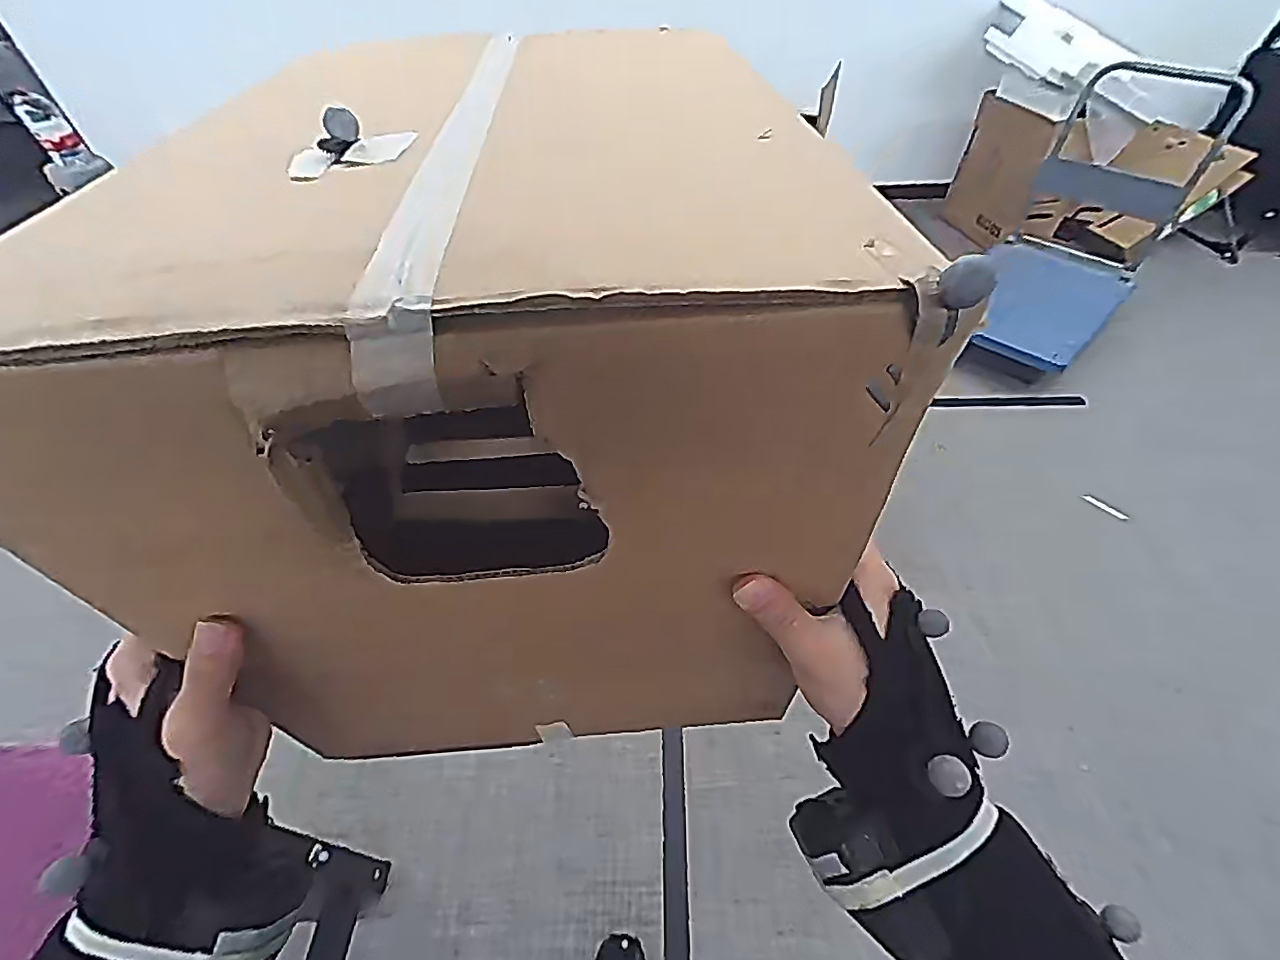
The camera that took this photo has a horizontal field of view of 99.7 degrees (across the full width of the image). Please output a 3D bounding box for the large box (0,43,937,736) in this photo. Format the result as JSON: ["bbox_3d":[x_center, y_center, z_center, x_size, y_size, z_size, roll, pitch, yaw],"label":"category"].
[{"bbox_3d":[-0.078,-0.083,0.396,0.320,0.320,0.408,-6,48,-2],"label":"large box"}]
